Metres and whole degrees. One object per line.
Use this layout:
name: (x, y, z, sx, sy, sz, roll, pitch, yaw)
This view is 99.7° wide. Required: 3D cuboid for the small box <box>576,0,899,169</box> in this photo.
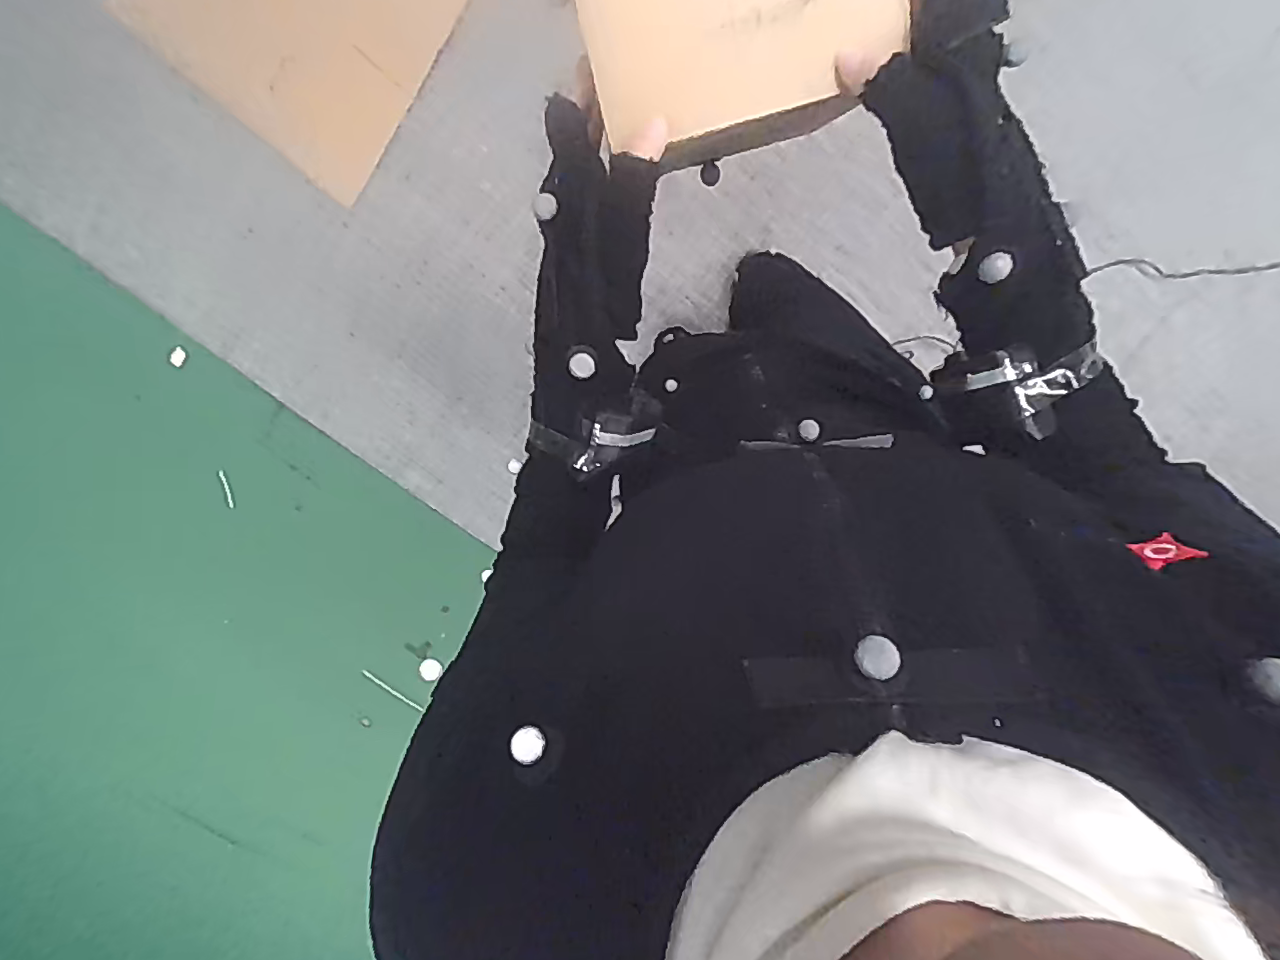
small box: (0.041, -0.319, 0.338, 0.168, 0.176, 0.179, -12, 113, 5)
